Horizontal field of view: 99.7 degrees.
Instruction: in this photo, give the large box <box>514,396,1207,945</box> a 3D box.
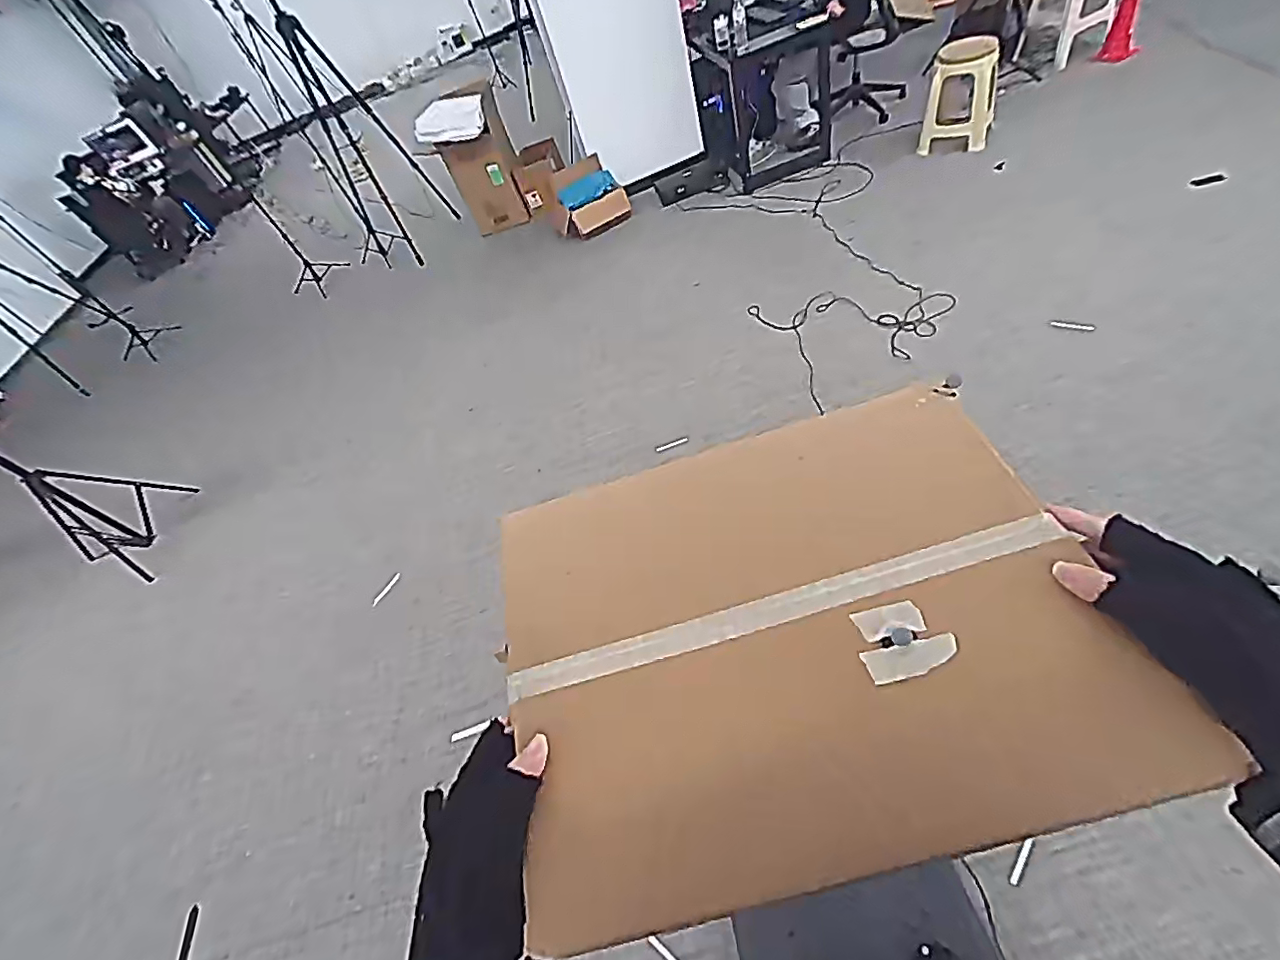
[{"bbox_3d":[0.134,0.185,0.520,0.408,0.320,0.320,-18,53,3],"label":"large box"}]
